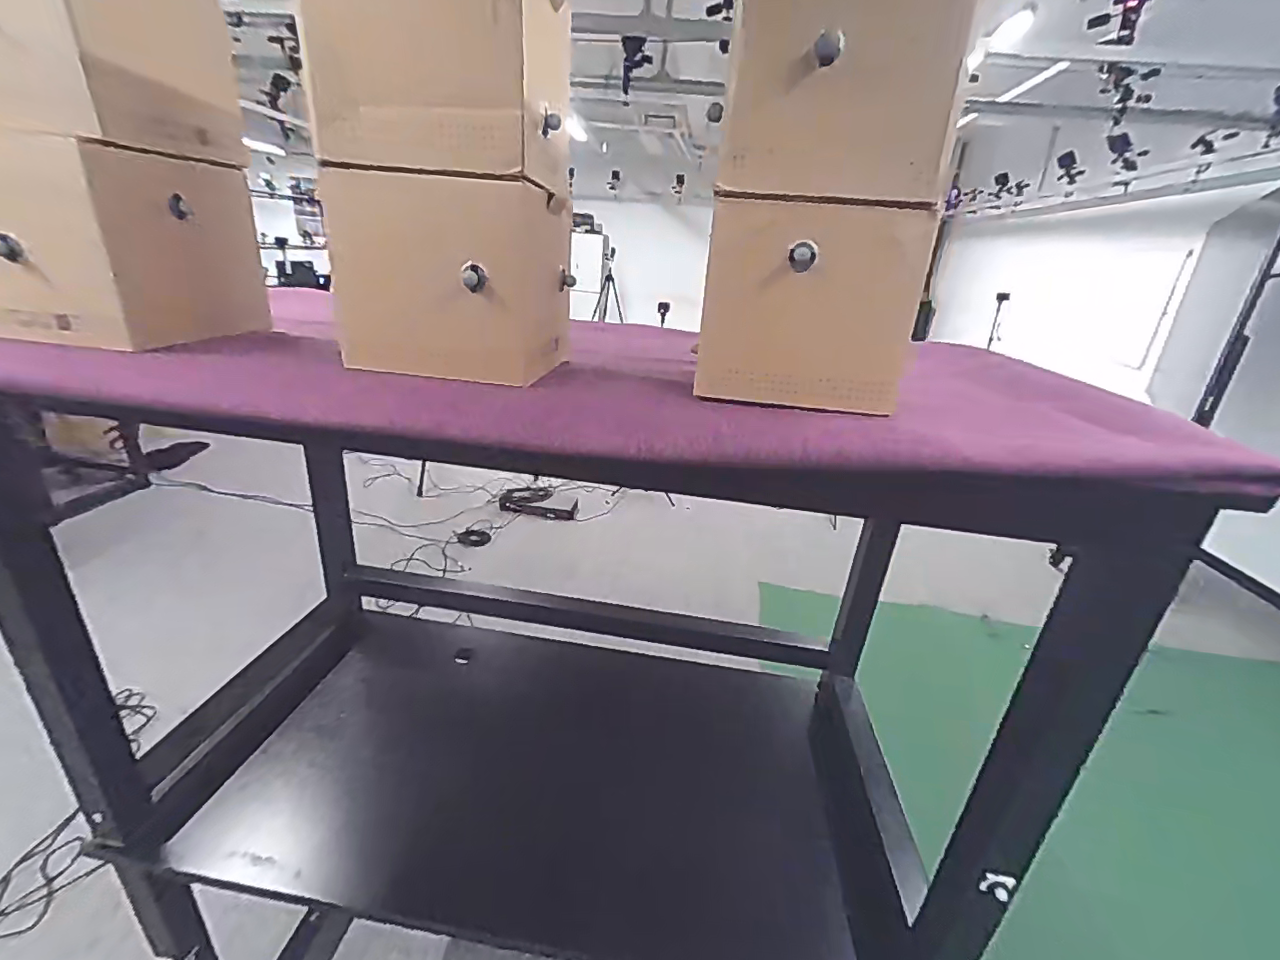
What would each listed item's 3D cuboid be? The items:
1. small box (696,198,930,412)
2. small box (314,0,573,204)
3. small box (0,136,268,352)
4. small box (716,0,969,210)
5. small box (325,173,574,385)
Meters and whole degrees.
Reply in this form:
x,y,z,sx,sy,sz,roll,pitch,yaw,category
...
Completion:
x,y,z,sx,sy,sz,roll,pitch,yaw,category
0.152,-0.167,0.535,0.179,0.176,0.168,8,20,7,small box
-0.163,-0.347,0.481,0.179,0.176,0.168,6,21,2,small box
-0.511,-0.229,0.538,0.168,0.176,0.179,8,22,3,small box
0.162,-0.322,0.480,0.179,0.176,0.168,6,20,7,small box
-0.170,-0.194,0.539,0.179,0.176,0.168,6,21,4,small box
